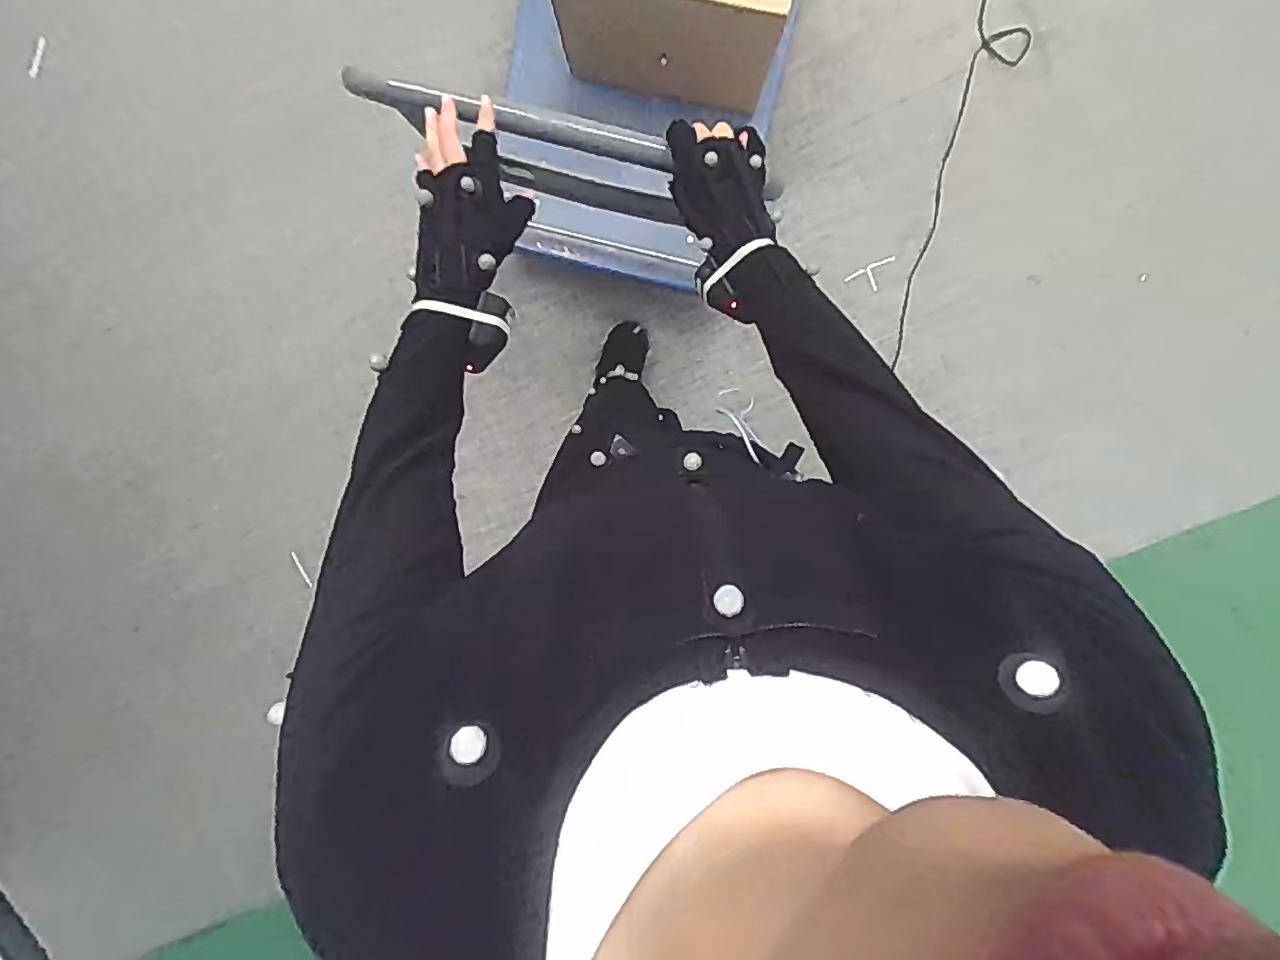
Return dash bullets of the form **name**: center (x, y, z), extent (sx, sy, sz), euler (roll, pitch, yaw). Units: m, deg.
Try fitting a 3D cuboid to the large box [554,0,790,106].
- **large box**: center (0.076, -0.954, 0.993), extent (0.408, 0.320, 0.320), euler (11, 99, 1)
